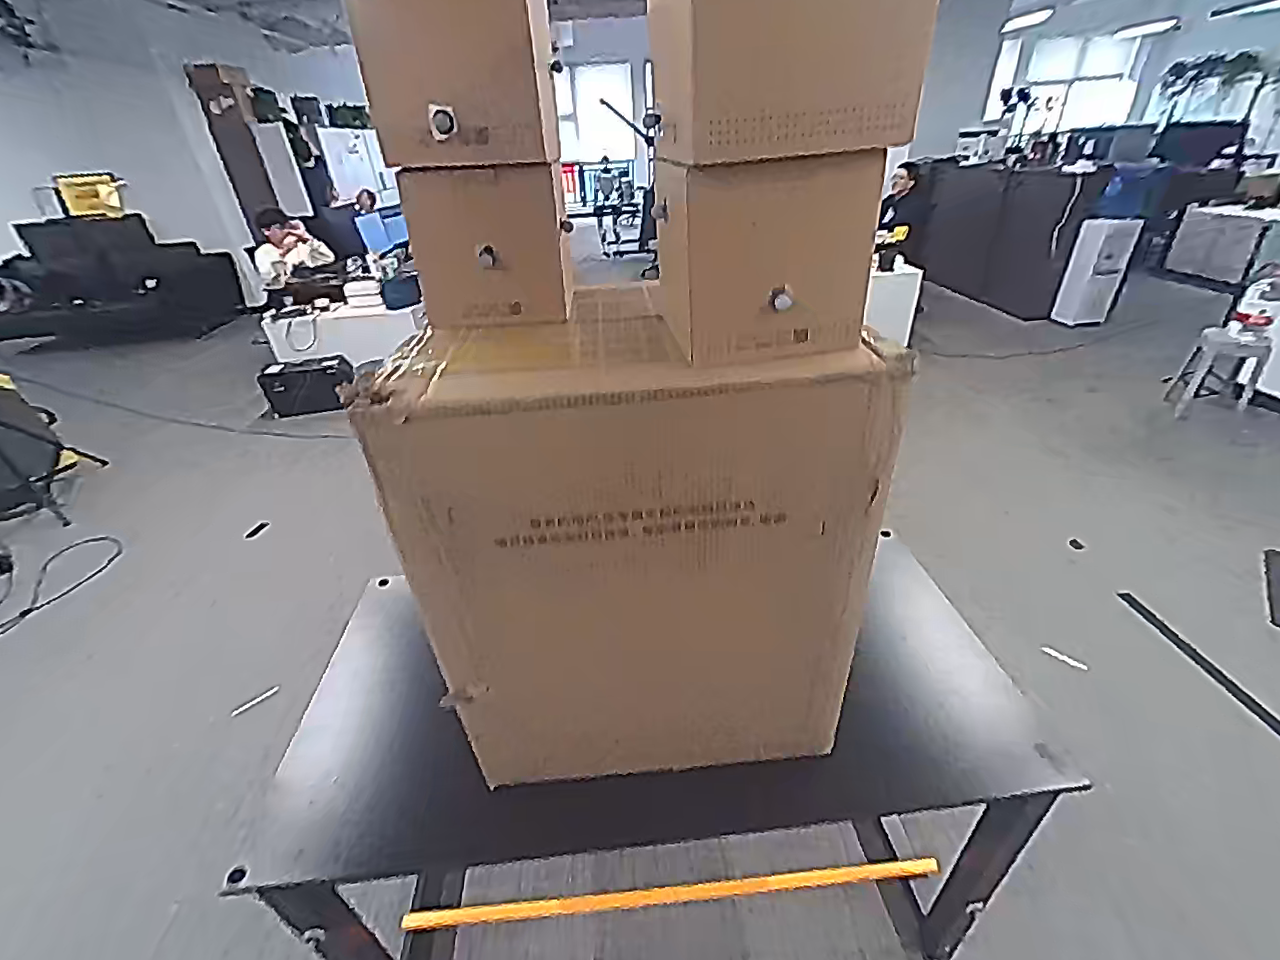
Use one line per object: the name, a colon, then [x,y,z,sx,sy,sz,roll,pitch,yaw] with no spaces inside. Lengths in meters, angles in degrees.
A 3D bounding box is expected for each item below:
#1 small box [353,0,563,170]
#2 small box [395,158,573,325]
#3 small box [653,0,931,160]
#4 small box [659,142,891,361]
small box: [-0.176,-0.425,0.568,0.168,0.176,0.179,-4,32,0]
small box: [-0.173,-0.295,0.668,0.168,0.176,0.179,-4,32,-3]
small box: [0.108,-0.355,0.425,0.179,0.176,0.168,-8,34,-6]
small box: [0.114,-0.230,0.533,0.168,0.176,0.179,-8,33,-4]
